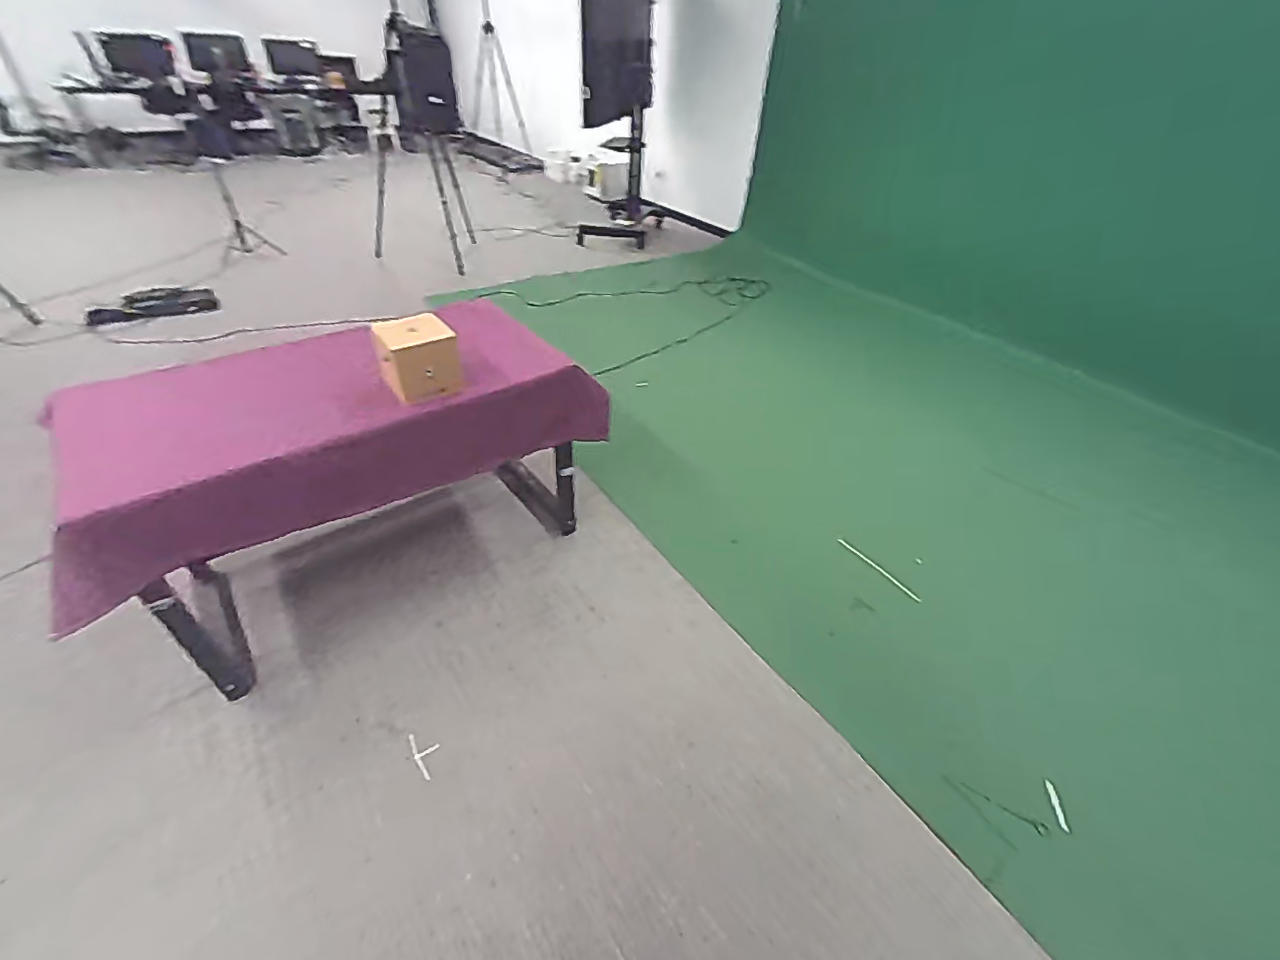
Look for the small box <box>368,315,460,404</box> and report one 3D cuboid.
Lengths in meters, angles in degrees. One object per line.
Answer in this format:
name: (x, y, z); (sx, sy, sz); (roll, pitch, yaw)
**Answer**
small box: (-0.603, -0.320, 1.459); (0.168, 0.176, 0.179); (-24, 47, -30)
